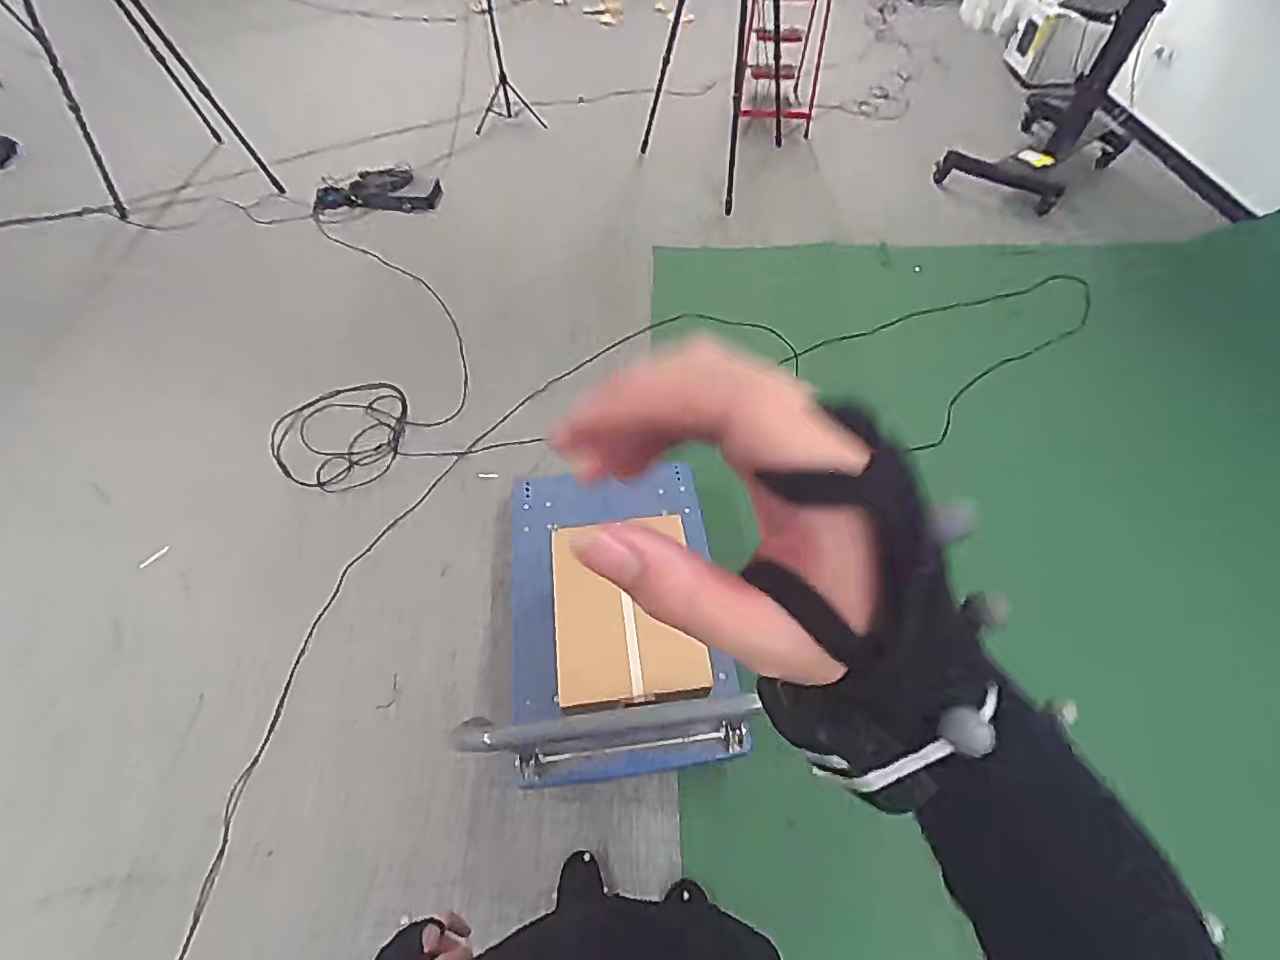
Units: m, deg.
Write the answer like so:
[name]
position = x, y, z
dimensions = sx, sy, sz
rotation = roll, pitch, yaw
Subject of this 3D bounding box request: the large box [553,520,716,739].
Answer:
[large box]
position = -0.024, 0.360, 1.302
dimensions = 0.320, 0.320, 0.408
rotation = -6, 55, -5
